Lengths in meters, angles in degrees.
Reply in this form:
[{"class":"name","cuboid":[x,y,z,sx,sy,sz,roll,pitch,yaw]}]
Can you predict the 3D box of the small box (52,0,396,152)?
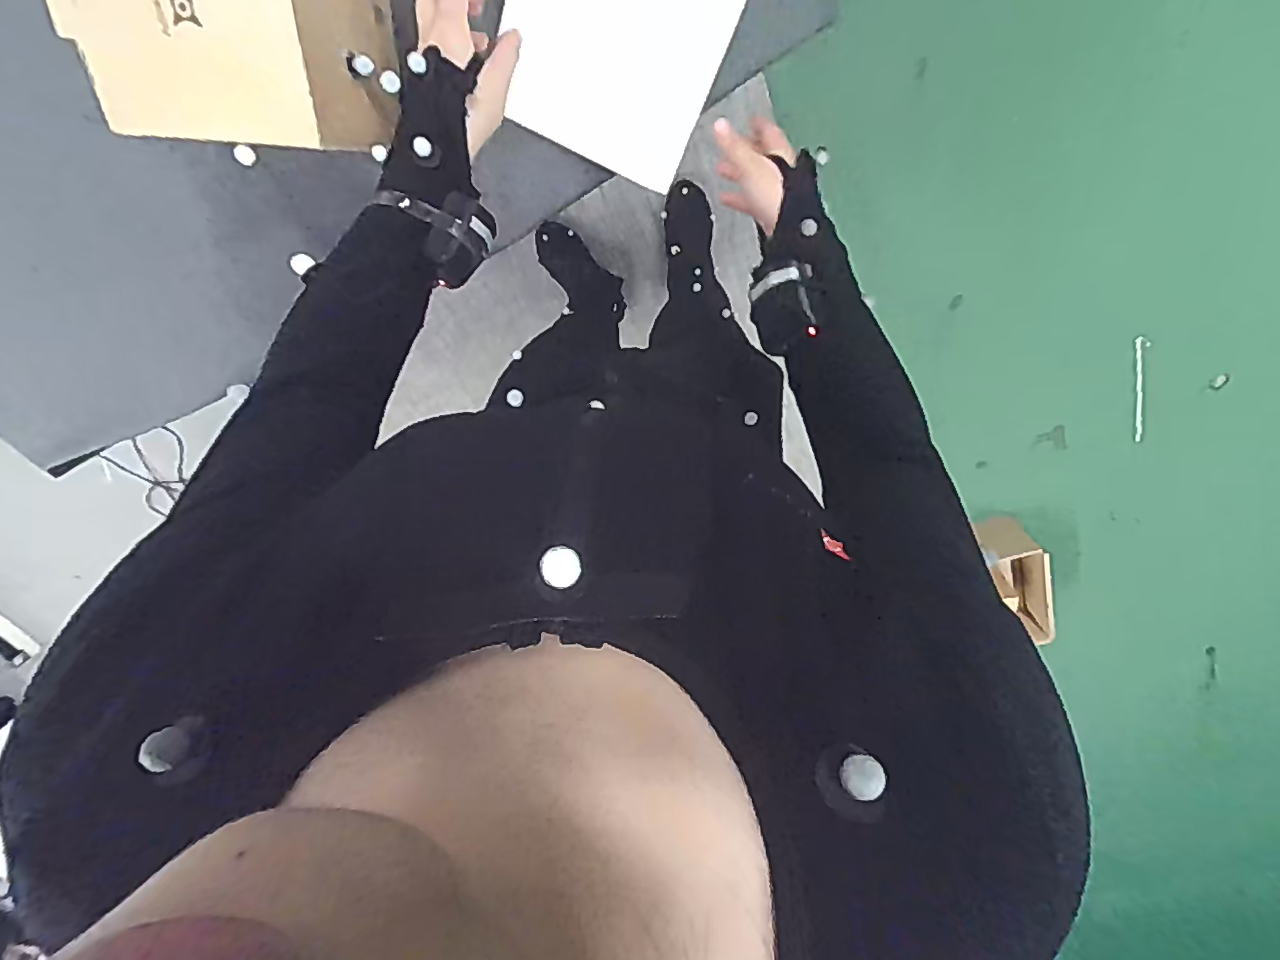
[{"class":"small box","cuboid":[-0.324,-0.377,0.447,0.179,0.176,0.168,5,123,2]}]
